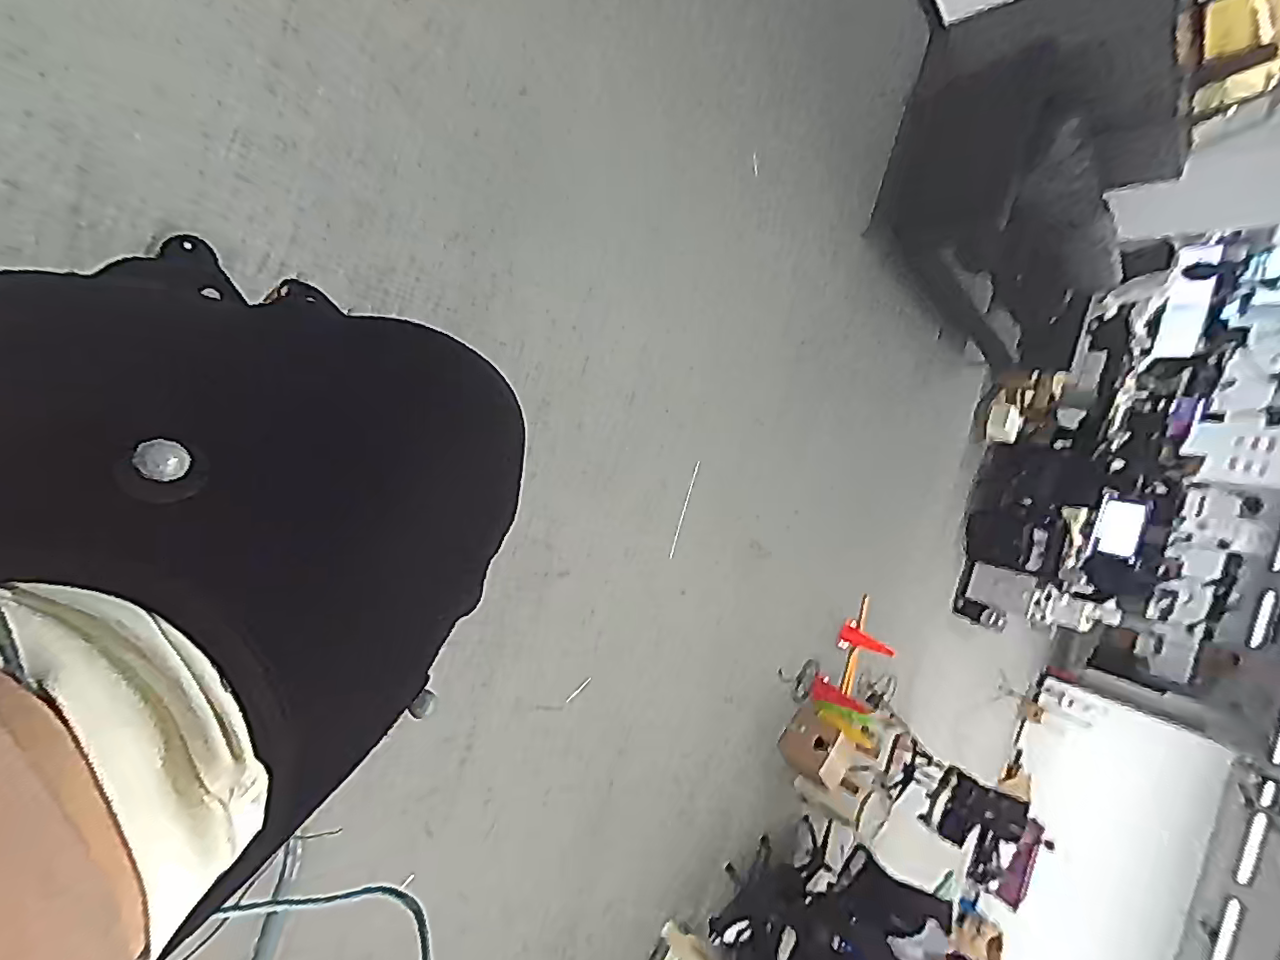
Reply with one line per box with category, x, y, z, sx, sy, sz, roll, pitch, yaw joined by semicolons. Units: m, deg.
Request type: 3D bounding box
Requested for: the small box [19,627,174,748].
small box;-1.070;0.407;1.079;0.179;0.176;0.168;21;87;-43
